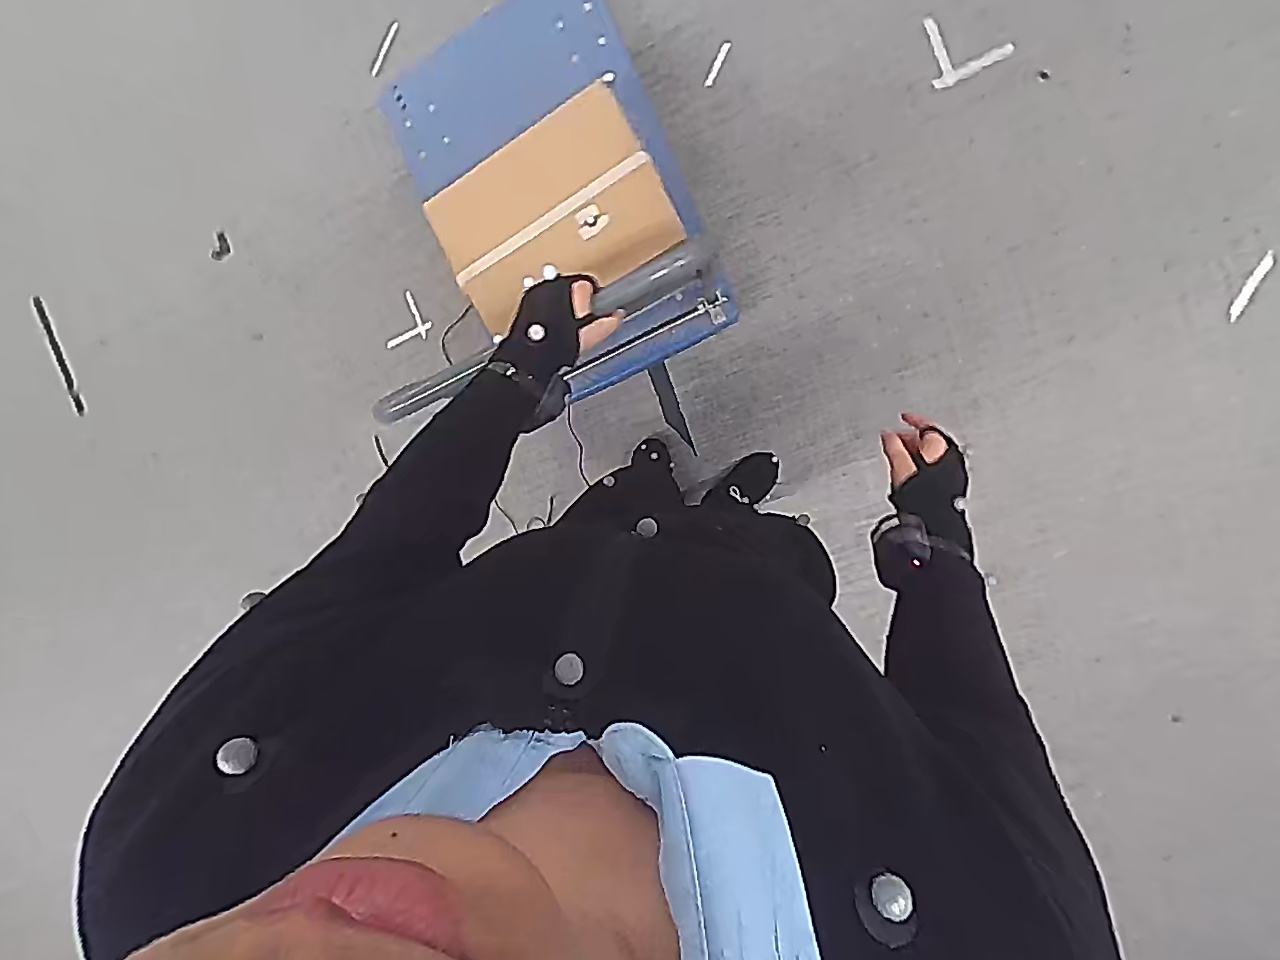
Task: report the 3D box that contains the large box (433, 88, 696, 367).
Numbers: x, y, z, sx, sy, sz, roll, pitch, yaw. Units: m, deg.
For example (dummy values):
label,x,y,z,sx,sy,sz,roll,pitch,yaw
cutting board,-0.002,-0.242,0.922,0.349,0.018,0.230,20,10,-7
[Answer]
label,x,y,z,sx,sy,sz,roll,pitch,yaw
large box,-0.131,-0.479,1.132,0.408,0.320,0.320,-28,93,11
